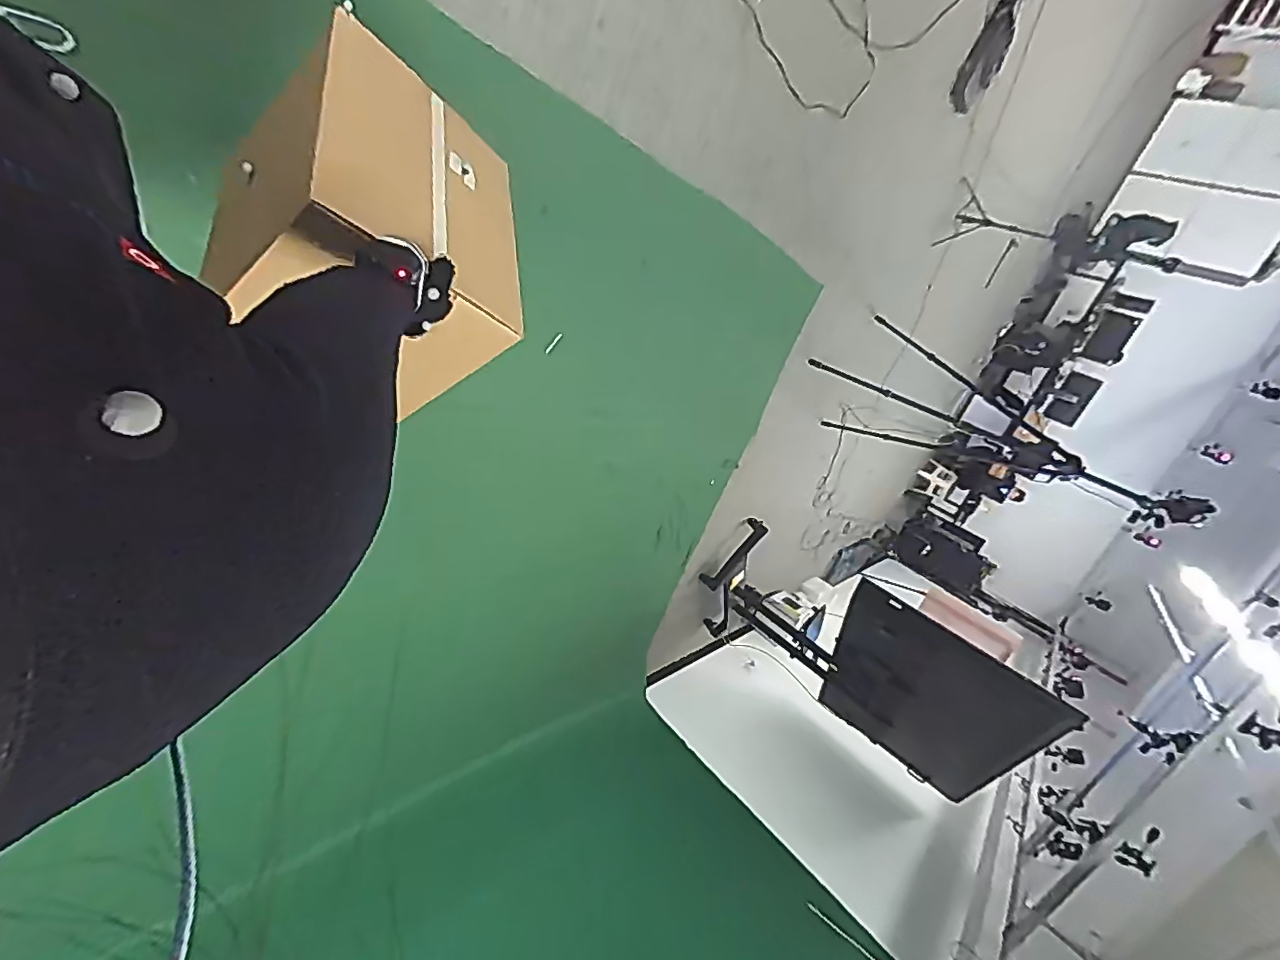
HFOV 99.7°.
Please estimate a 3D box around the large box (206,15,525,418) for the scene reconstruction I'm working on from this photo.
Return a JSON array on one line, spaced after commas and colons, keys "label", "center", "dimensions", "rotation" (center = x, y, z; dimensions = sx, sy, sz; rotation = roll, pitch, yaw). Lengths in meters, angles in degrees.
[{"label": "large box", "center": [-0.416, -0.371, 0.850], "dimensions": [0.320, 0.408, 0.320], "rotation": [-25, 152, 26]}]
